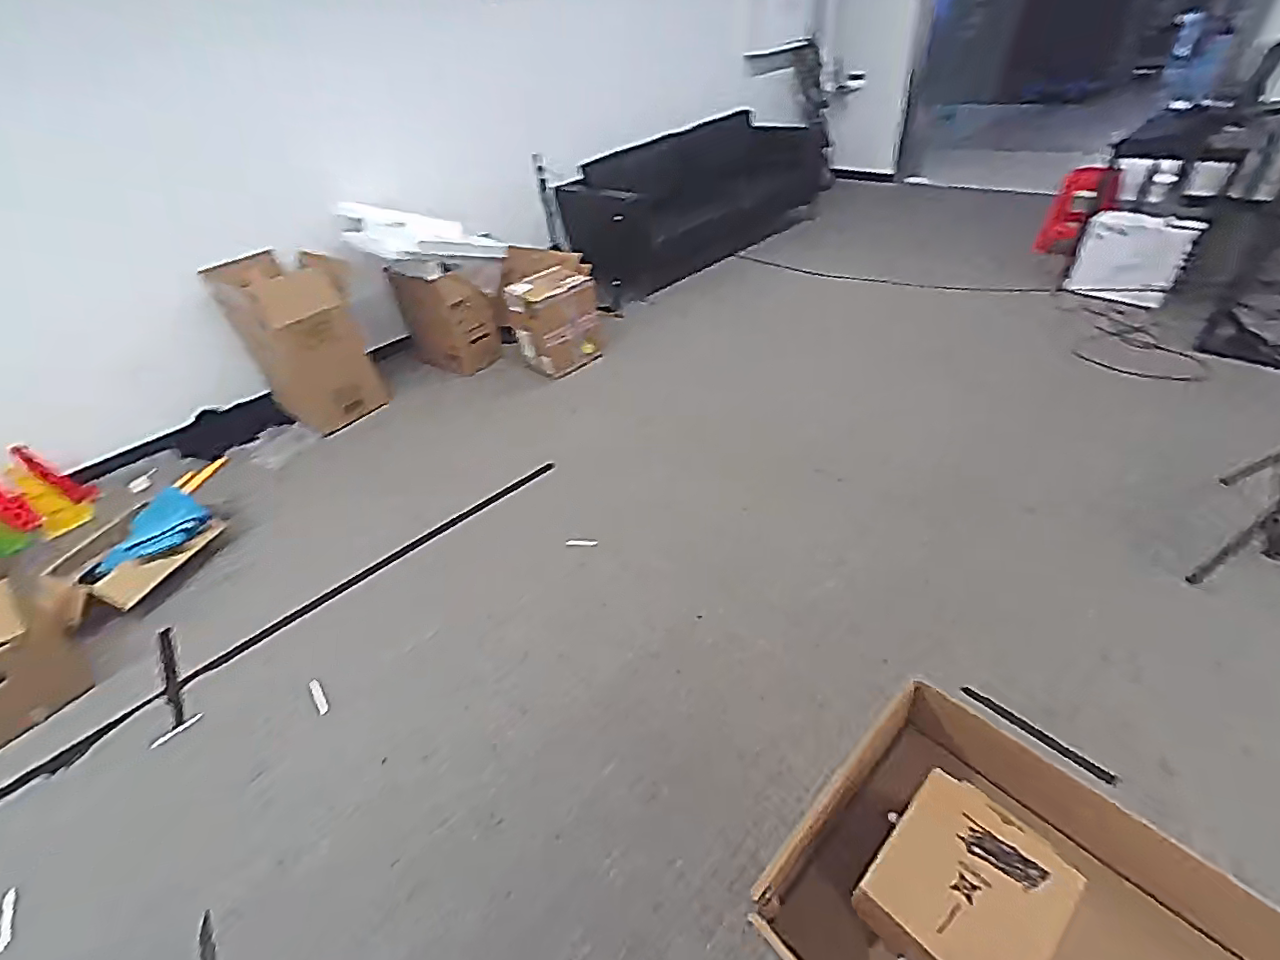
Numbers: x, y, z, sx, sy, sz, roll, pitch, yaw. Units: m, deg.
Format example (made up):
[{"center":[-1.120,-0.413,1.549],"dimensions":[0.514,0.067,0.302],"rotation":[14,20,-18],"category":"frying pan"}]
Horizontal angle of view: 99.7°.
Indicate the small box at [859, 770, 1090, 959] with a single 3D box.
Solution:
[{"center":[0.383,0.500,0.650],"dimensions":[0.179,0.176,0.168],"rotation":[-39,48,-23],"category":"small box"}]
